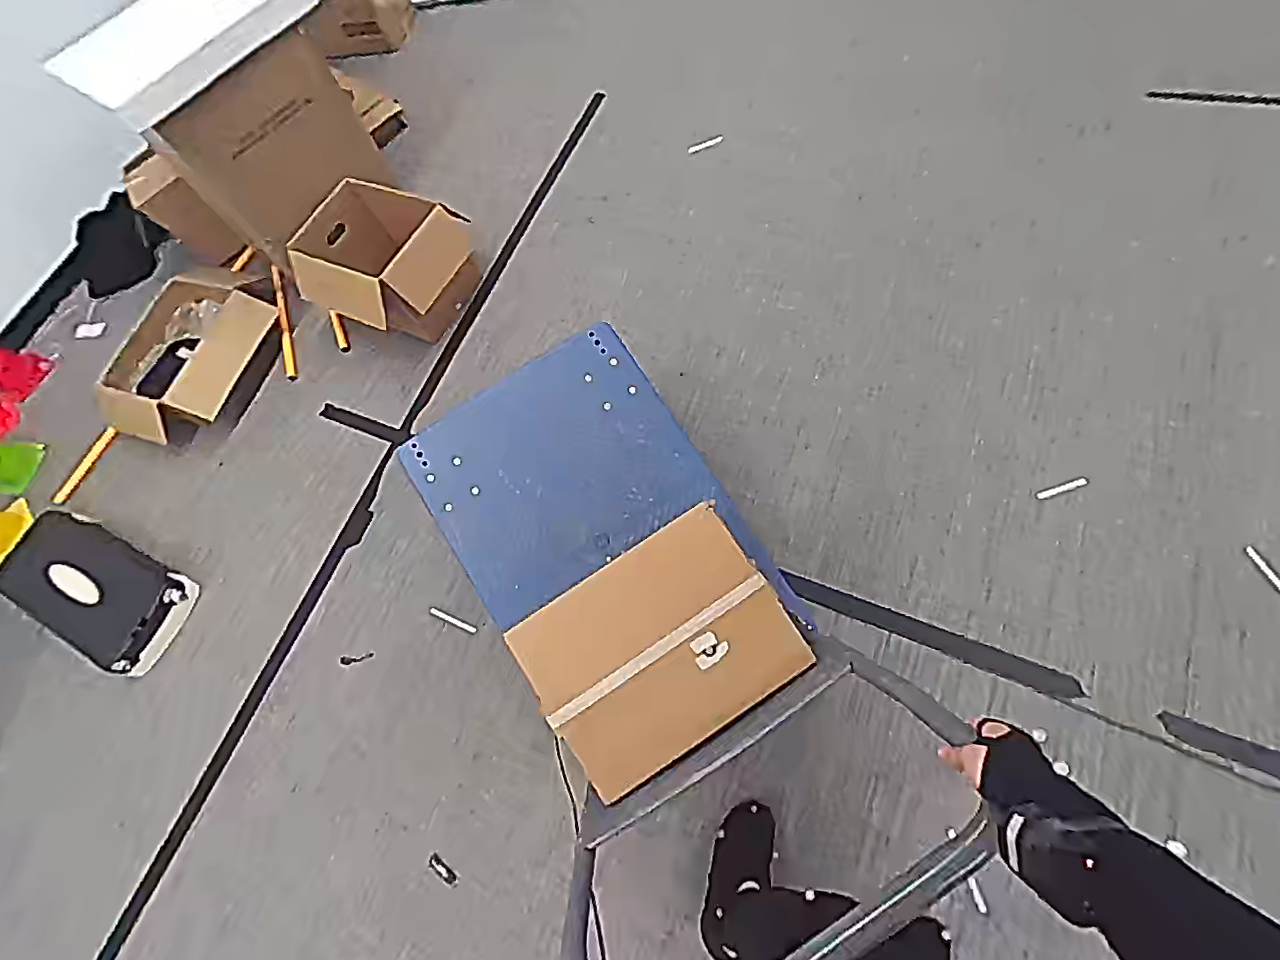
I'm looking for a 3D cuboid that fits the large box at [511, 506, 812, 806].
[{"bbox_3d":[0.034,0.300,1.021,0.408,0.320,0.320,-34,83,-5],"label":"large box"}]
